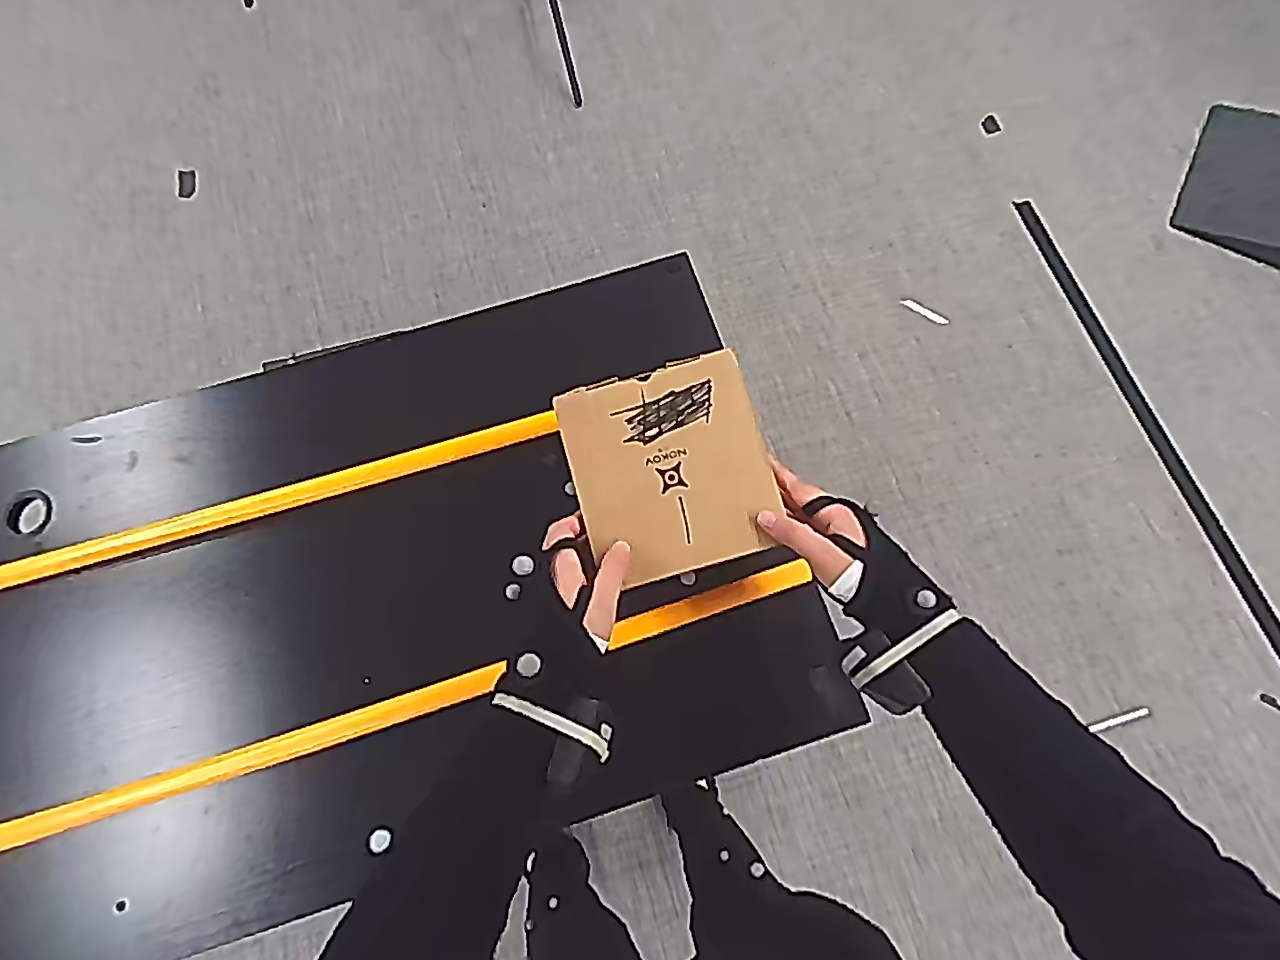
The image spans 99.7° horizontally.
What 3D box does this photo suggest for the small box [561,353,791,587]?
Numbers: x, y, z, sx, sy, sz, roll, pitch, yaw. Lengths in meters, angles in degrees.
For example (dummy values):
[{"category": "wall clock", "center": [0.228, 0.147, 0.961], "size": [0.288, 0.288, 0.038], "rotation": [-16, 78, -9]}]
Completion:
[{"category": "small box", "center": [0.029, 0.001, 0.544], "size": [0.168, 0.176, 0.179], "rotation": [-16, 82, -1]}]
